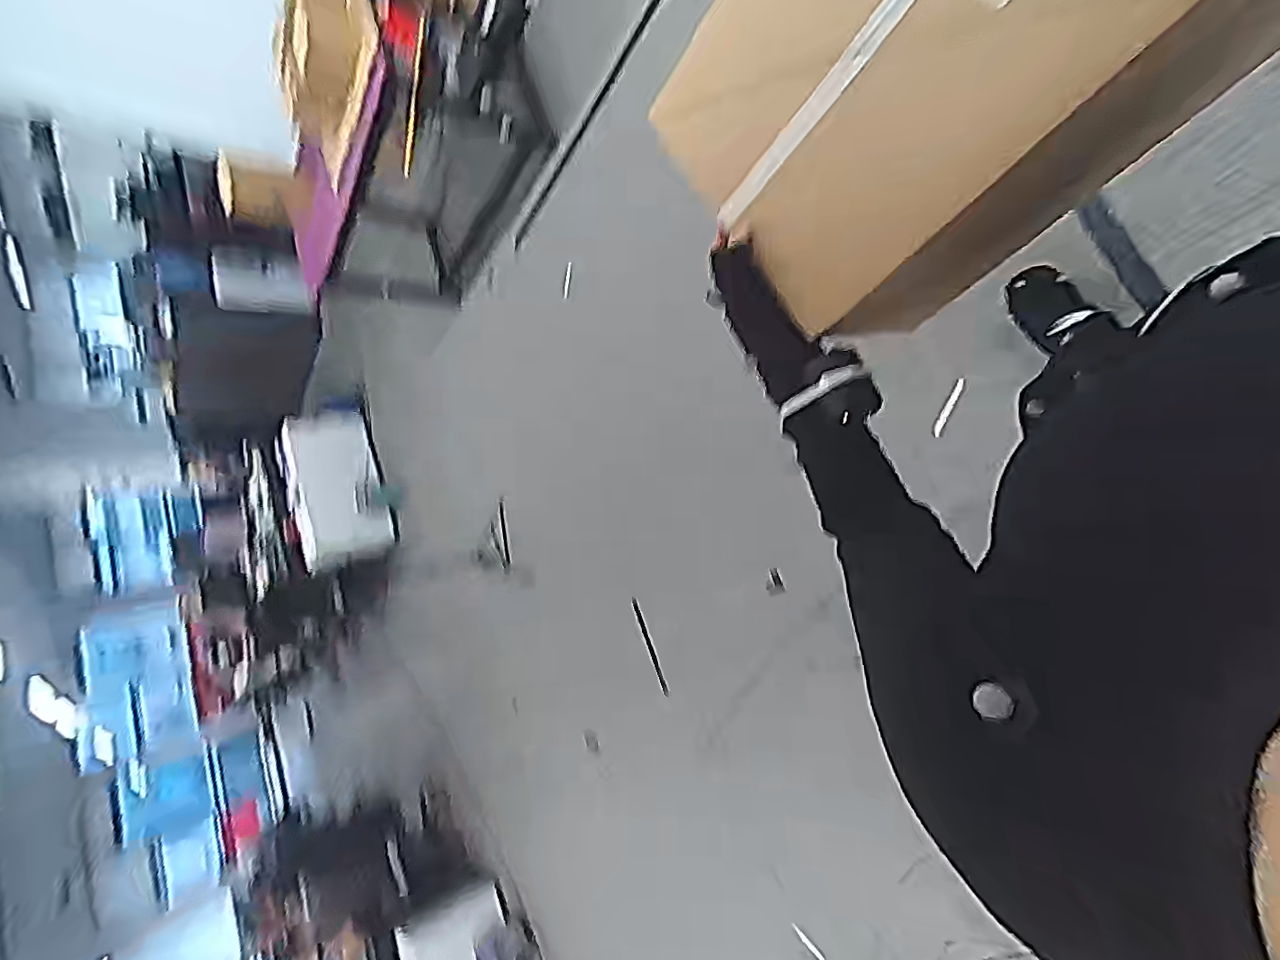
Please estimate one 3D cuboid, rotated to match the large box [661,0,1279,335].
[{"bbox_3d":[0.302,-0.395,0.540,0.408,0.320,0.320,-42,74,40],"label":"large box"}]
